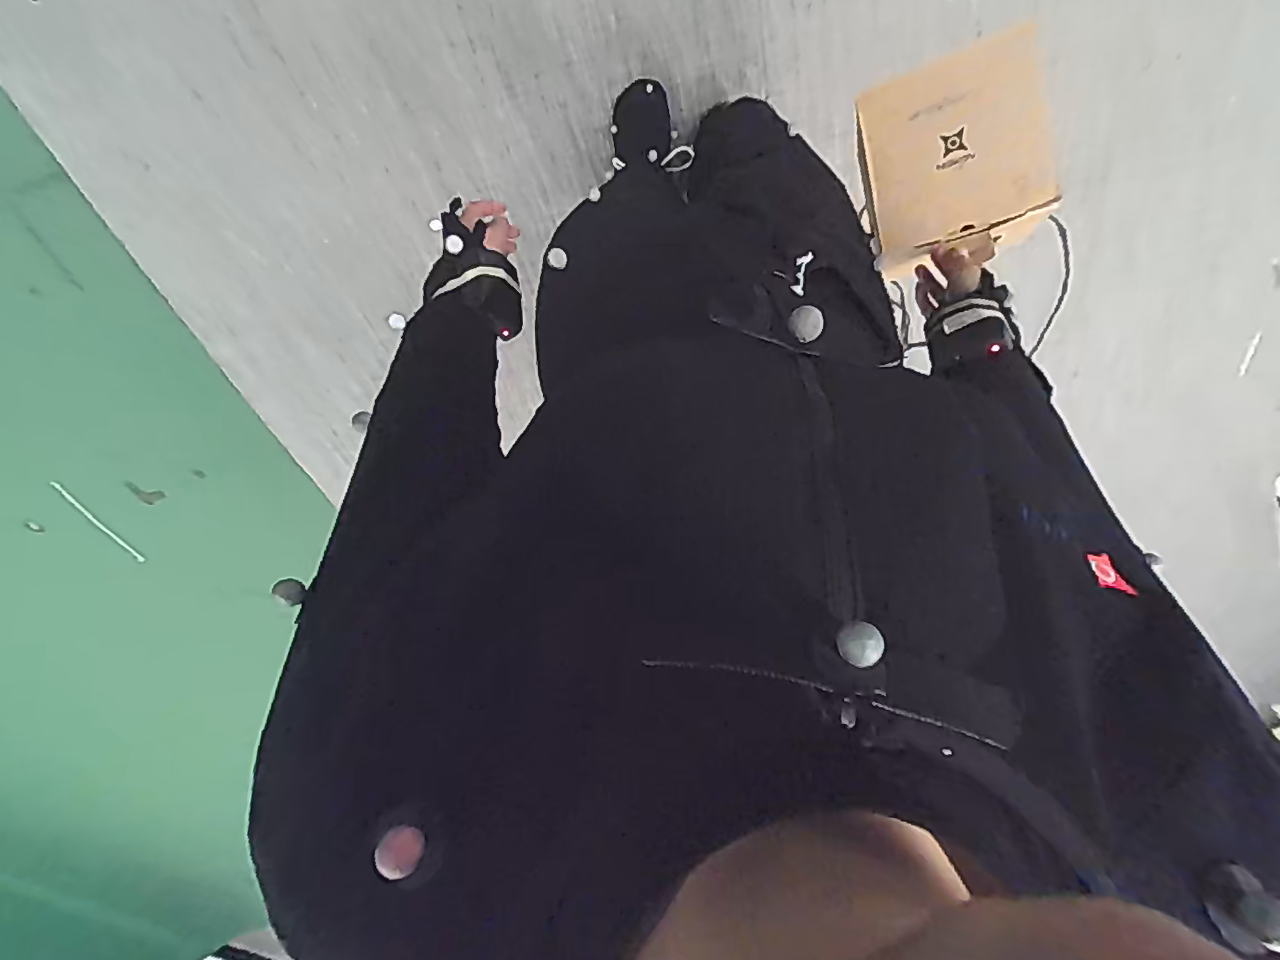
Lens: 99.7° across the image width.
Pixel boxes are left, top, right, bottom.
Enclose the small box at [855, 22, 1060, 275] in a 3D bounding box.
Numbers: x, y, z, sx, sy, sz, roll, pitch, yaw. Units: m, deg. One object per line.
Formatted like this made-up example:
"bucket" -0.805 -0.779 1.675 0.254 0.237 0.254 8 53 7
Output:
"small box" 0.352 -0.352 0.625 0.168 0.176 0.179 -11 93 24
